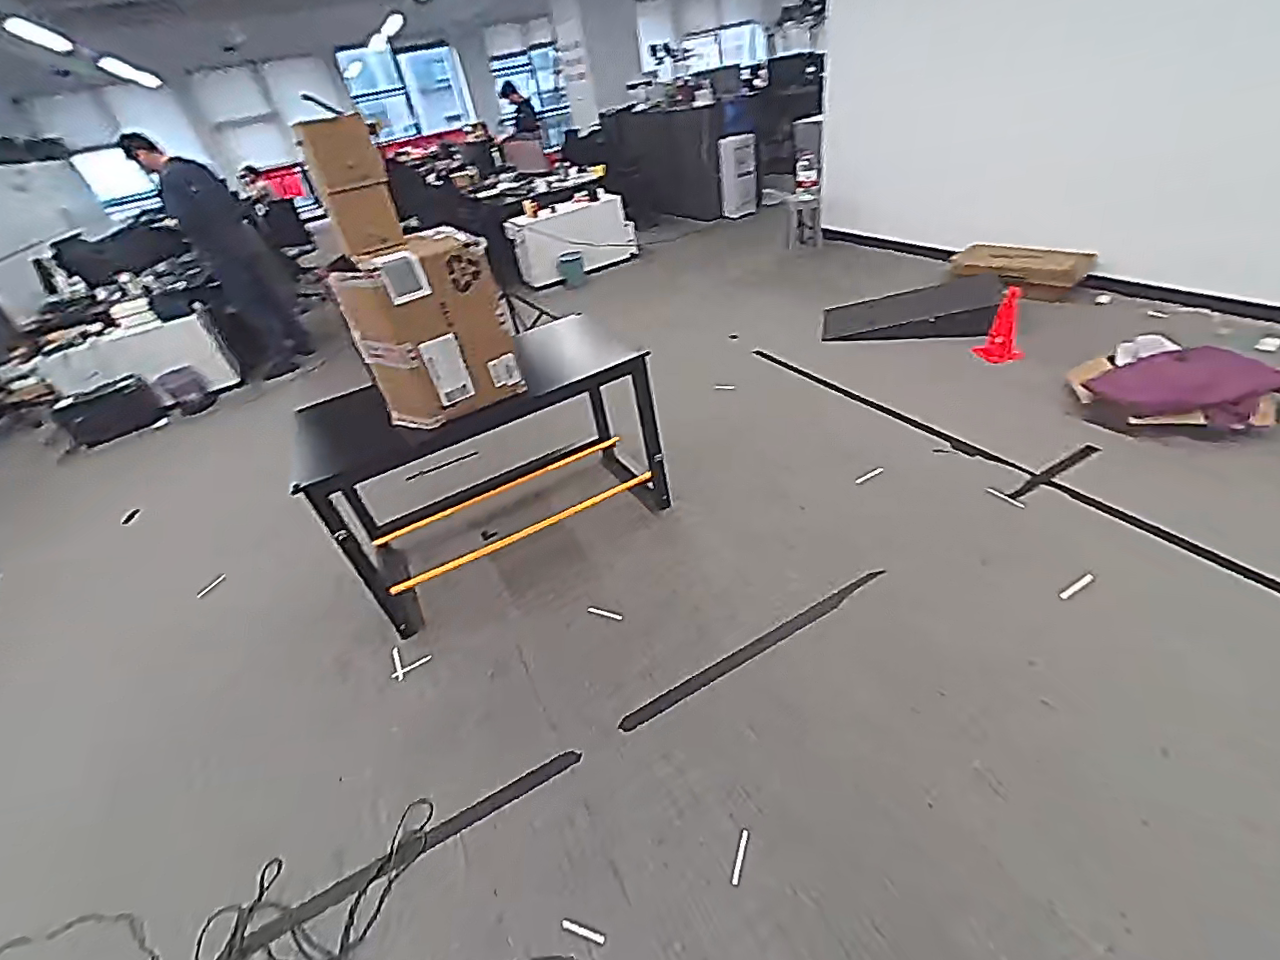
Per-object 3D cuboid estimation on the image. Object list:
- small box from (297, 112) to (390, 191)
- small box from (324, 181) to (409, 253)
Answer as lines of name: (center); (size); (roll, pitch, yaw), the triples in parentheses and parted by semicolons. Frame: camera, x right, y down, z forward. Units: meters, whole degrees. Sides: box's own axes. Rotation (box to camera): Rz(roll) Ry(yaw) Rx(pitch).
small box: (-0.842, -0.929, 1.539); (0.168, 0.176, 0.179); (-29, 38, -24)
small box: (-0.826, -0.796, 1.635); (0.168, 0.176, 0.179); (-27, 38, -22)
